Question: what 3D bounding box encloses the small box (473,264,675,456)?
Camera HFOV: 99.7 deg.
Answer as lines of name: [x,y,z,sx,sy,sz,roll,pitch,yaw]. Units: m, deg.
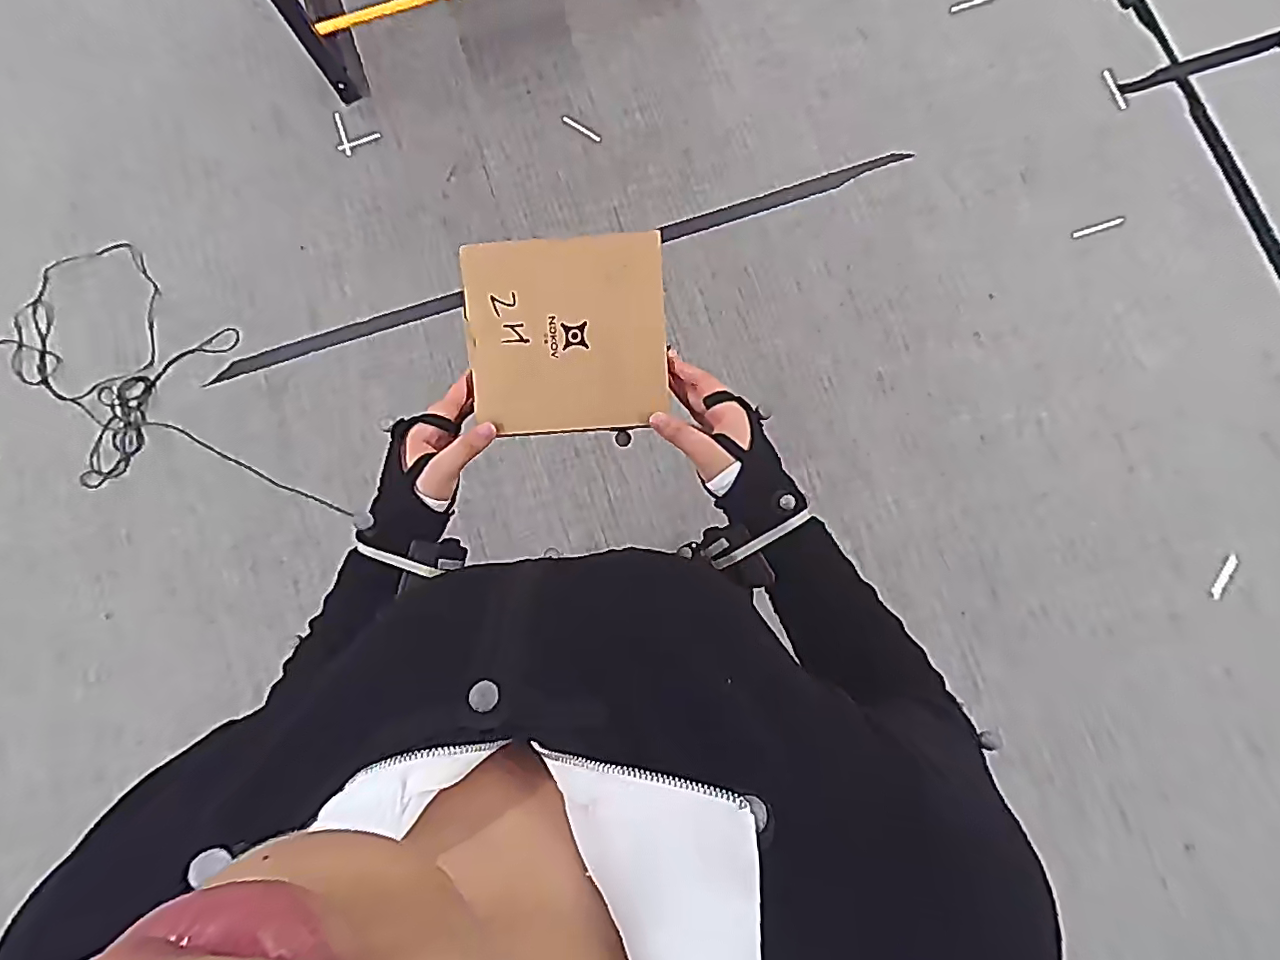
small box: [-0.057,-0.114,0.565,0.179,0.176,0.168,-3,95,3]
